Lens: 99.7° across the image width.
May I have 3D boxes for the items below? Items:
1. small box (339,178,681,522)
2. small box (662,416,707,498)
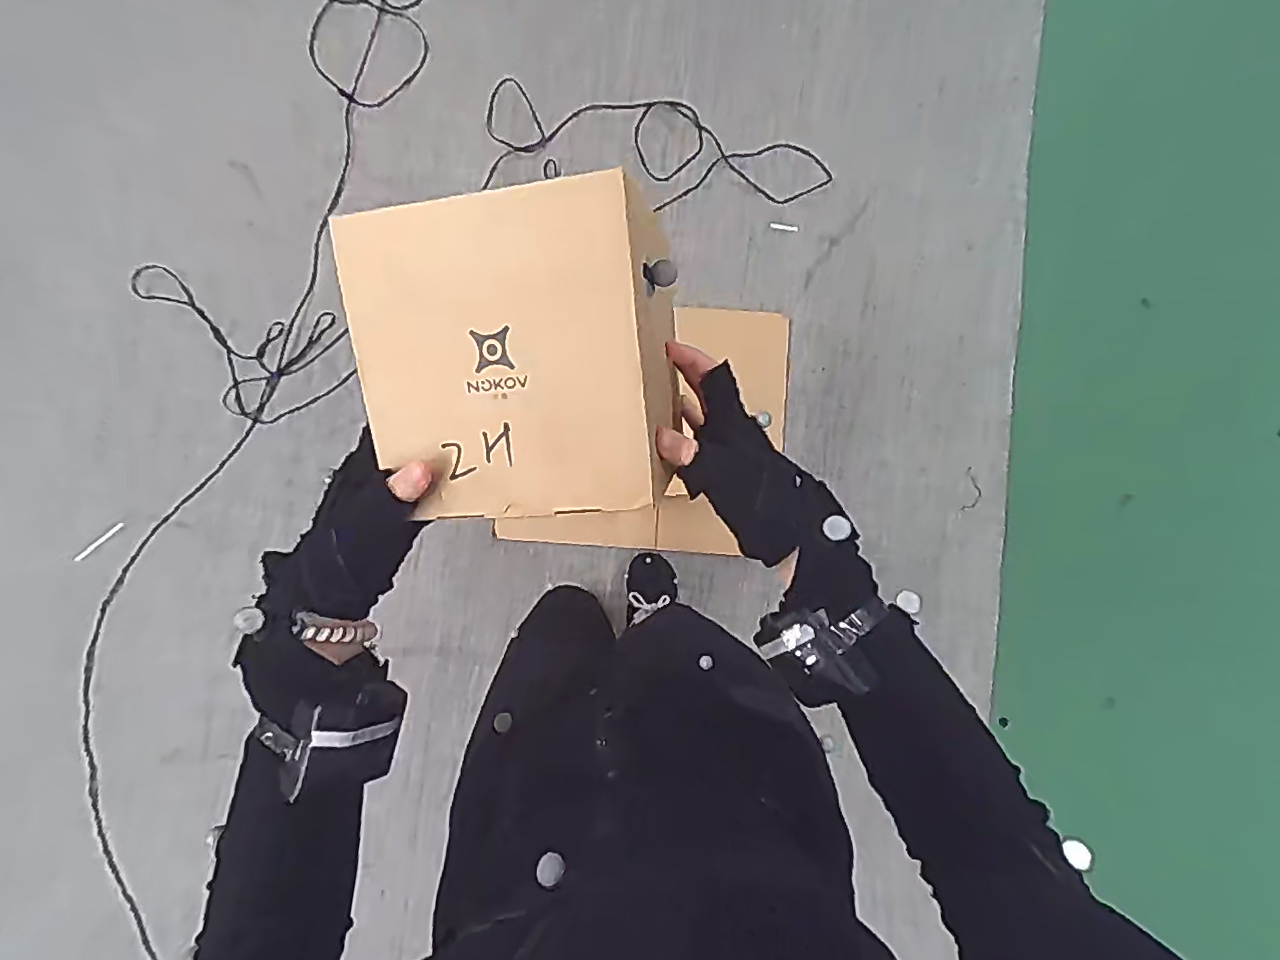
[{"bbox_3d":[-0.065,-0.079,0.377,0.168,0.176,0.179,-3,102,11],"label":"small box"},{"bbox_3d":[0.059,-0.050,1.249,0.168,0.176,0.179,2,87,0],"label":"small box"}]
